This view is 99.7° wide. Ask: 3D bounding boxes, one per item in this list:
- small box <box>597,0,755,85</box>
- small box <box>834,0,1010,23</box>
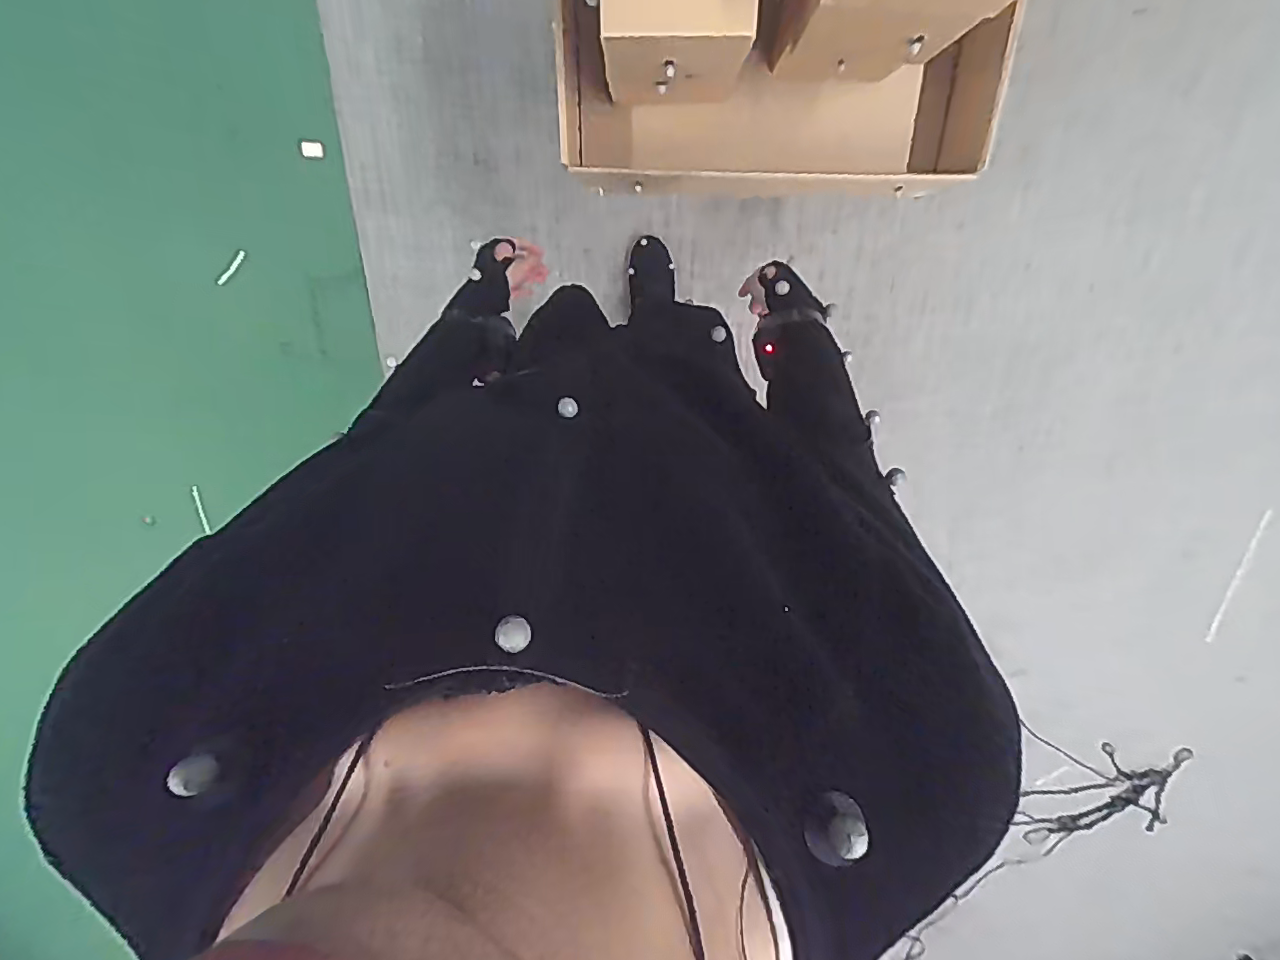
[{"bbox_3d":[0.041,-0.566,0.608,0.168,0.176,0.179,1,114,1],"label":"small box"},{"bbox_3d":[0.276,-0.518,0.448,0.179,0.176,0.168,7,113,0],"label":"small box"}]
